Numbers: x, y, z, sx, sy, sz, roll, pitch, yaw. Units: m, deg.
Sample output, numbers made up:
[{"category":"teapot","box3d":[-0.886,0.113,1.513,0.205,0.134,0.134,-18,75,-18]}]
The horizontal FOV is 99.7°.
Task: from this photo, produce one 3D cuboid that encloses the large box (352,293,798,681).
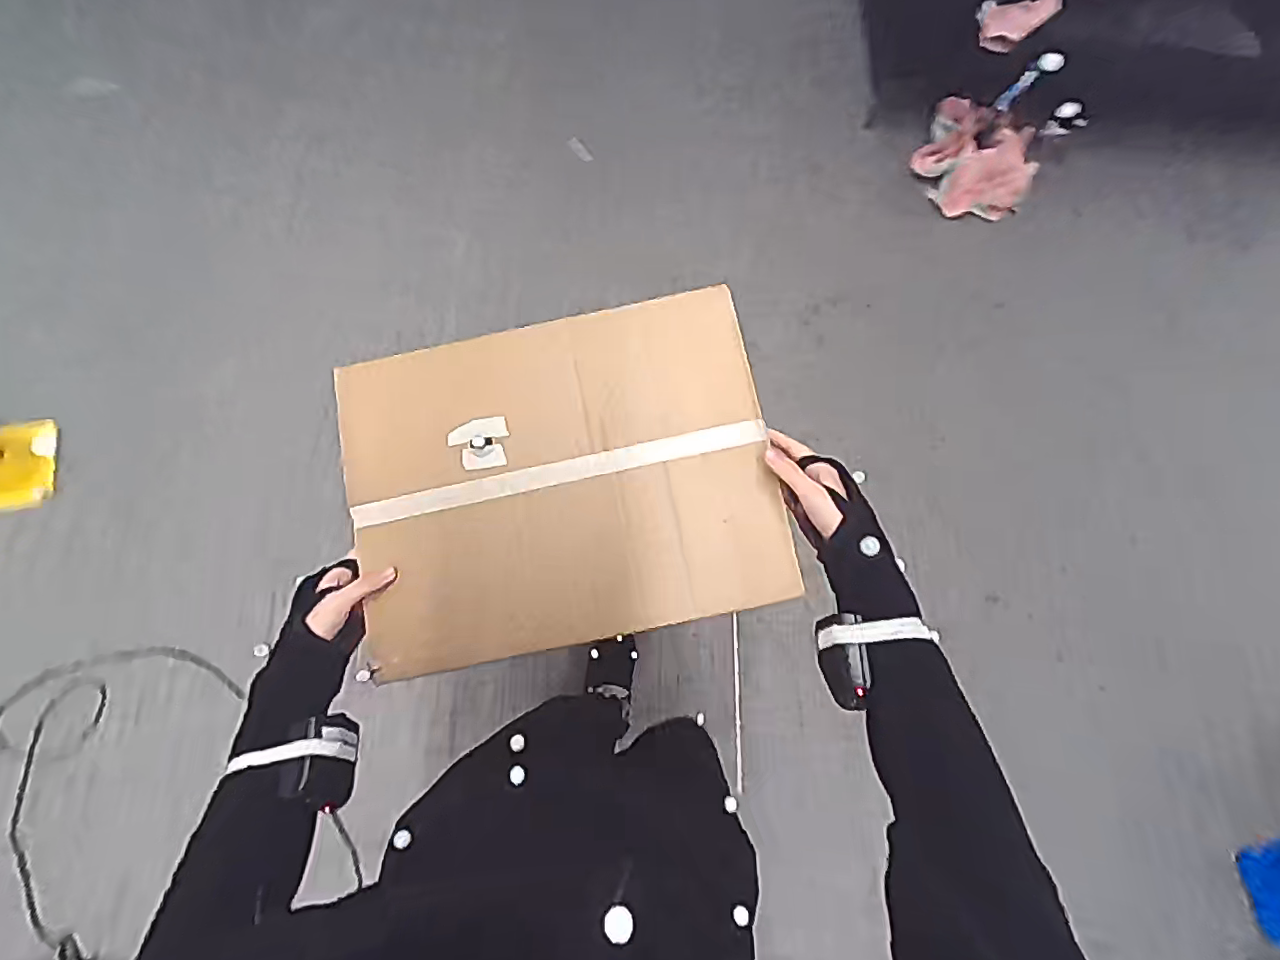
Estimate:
[{"category":"large box","box3d":[-0.065,0.019,0.685,0.408,0.320,0.320,-14,81,2]}]
